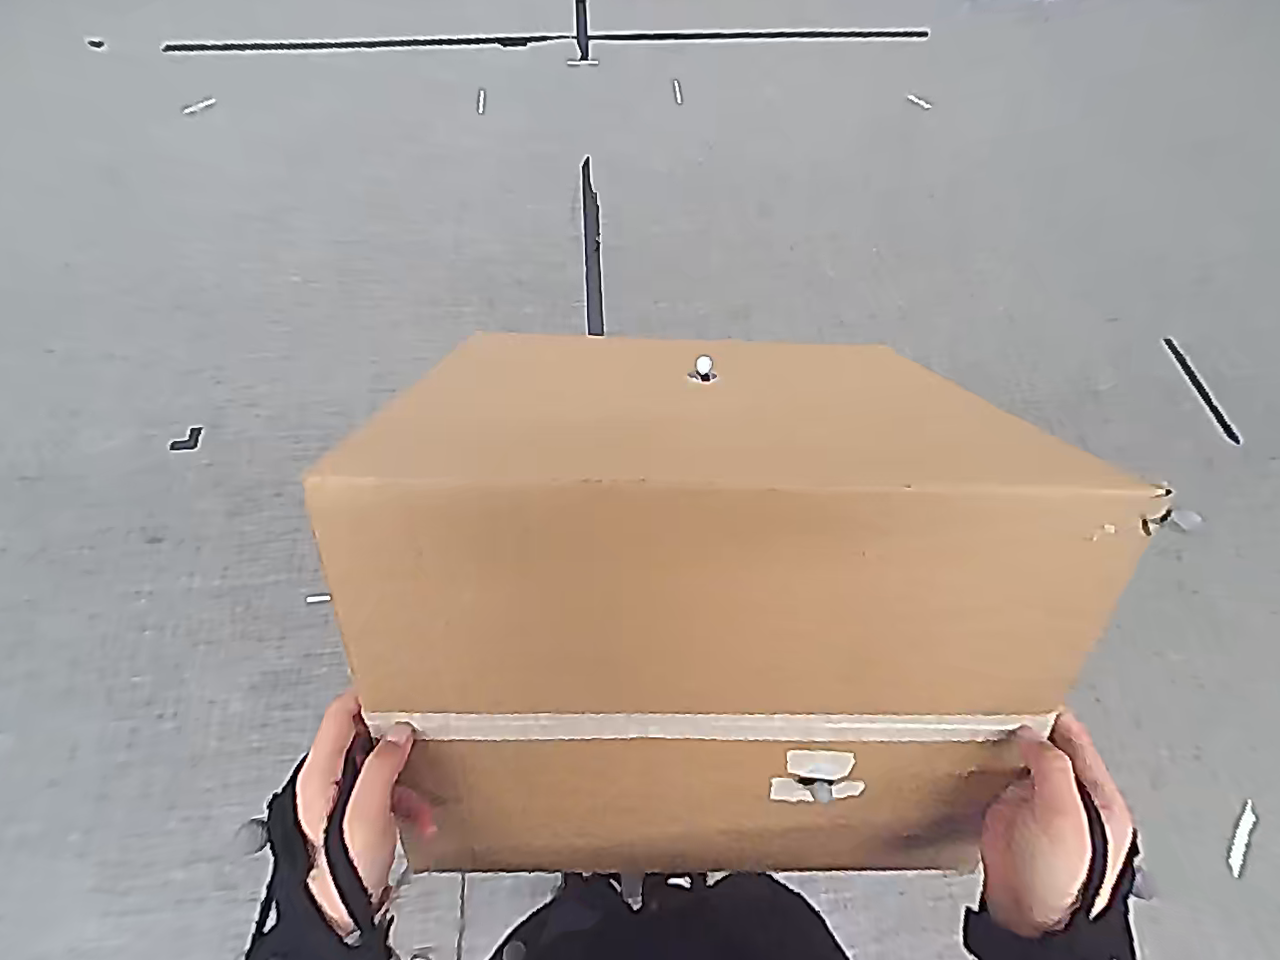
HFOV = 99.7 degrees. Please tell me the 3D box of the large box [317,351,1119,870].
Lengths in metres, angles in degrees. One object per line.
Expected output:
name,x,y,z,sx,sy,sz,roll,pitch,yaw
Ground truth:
large box,0.034,0.075,0.461,0.408,0.320,0.320,0,28,-3
